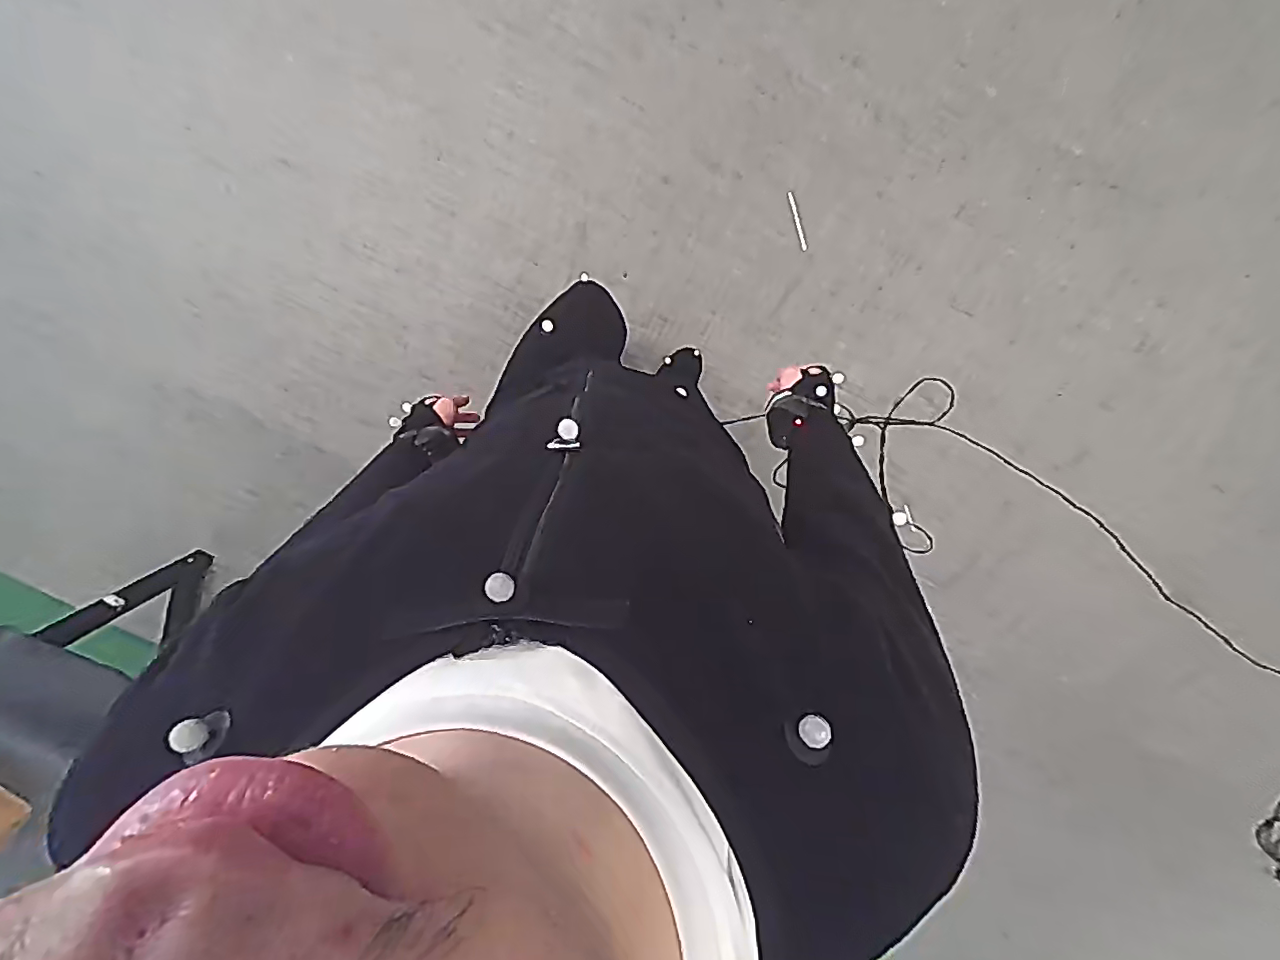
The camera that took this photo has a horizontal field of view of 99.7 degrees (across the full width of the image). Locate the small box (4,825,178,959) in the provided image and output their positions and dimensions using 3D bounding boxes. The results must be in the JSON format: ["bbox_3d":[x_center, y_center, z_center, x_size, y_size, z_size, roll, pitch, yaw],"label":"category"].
[{"bbox_3d":[-1.198,0.903,1.195,0.168,0.176,0.179,-27,103,13],"label":"small box"}]

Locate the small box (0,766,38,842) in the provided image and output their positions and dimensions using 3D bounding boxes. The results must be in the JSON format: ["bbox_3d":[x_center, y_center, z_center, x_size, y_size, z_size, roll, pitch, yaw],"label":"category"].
[{"bbox_3d":[-1.488,0.744,1.173,0.168,0.176,0.179,44,108,-7],"label":"small box"}]
